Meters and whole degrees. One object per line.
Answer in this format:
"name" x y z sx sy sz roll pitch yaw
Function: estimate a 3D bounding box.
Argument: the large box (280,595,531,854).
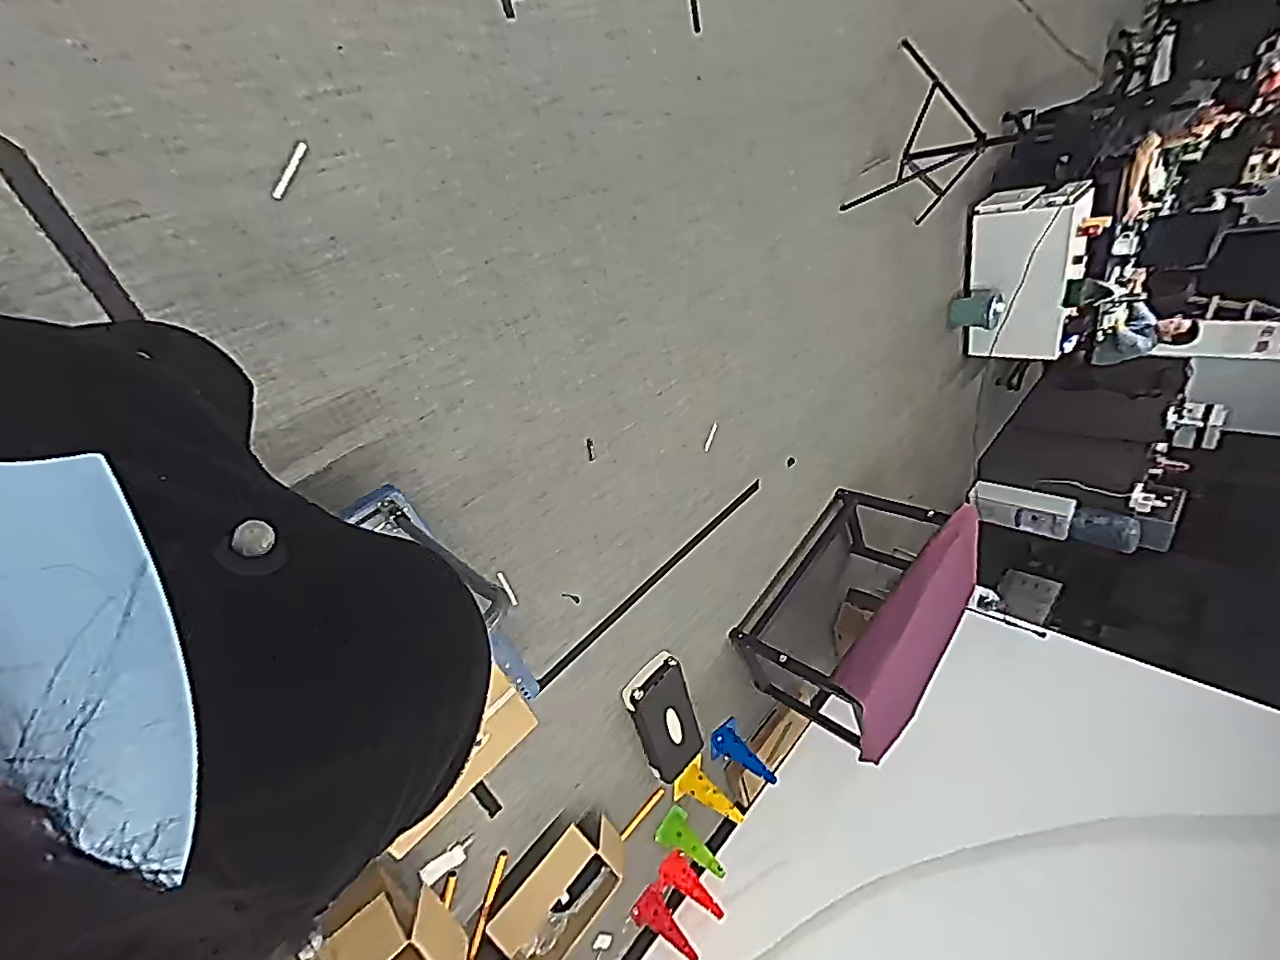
"large box" -0.553 0.560 1.304 0.408 0.320 0.320 -40 128 -29
